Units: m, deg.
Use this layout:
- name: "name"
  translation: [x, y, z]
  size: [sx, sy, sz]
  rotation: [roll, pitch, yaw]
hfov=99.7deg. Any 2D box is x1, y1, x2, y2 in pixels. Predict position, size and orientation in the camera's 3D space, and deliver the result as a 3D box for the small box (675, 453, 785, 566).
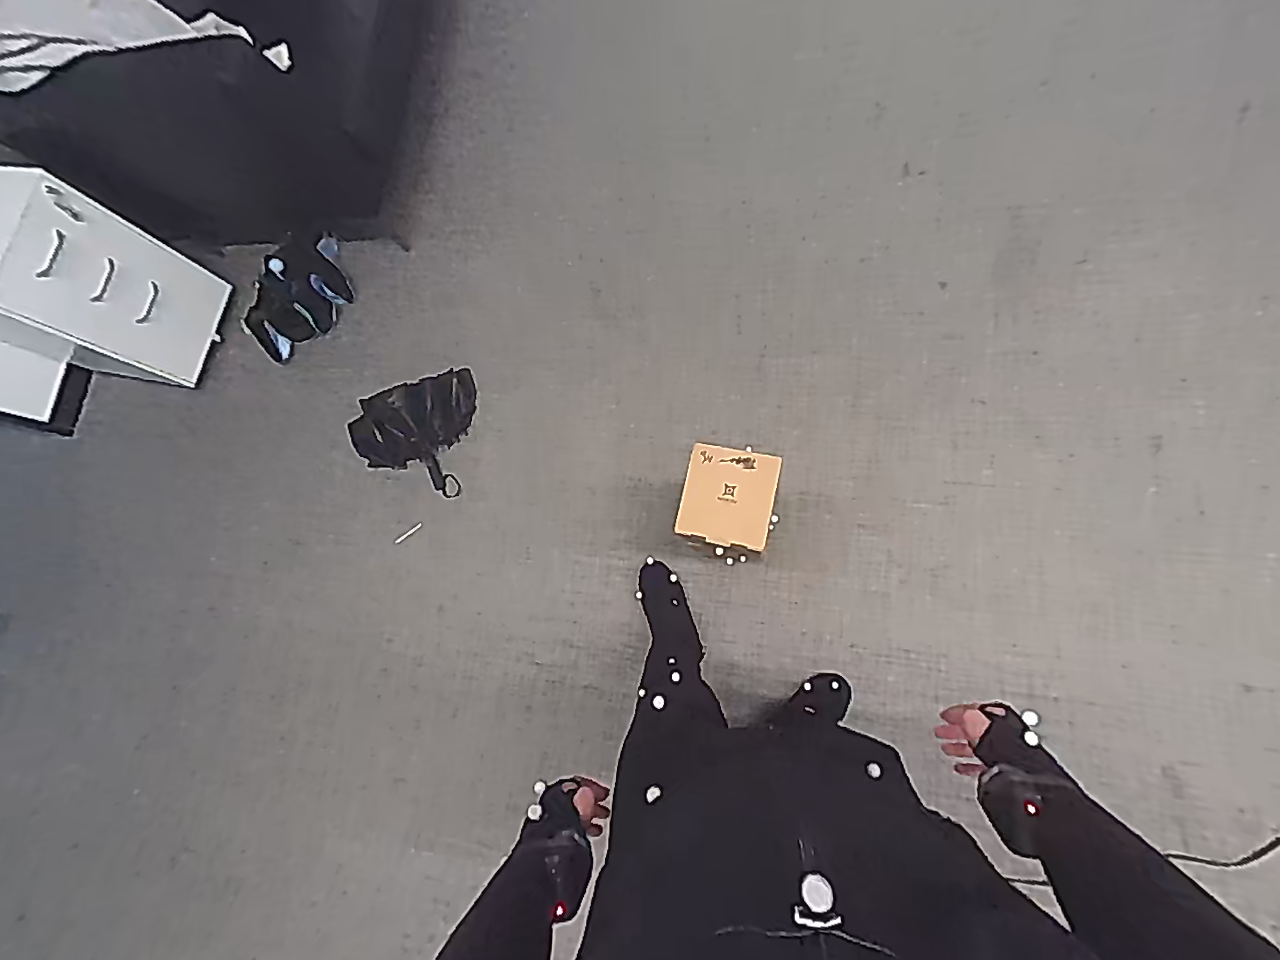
- name: "small box"
  translation: [0.176, 0.063, 1.030]
  size: [0.168, 0.176, 0.179]
  rotation: [11, 82, 14]
